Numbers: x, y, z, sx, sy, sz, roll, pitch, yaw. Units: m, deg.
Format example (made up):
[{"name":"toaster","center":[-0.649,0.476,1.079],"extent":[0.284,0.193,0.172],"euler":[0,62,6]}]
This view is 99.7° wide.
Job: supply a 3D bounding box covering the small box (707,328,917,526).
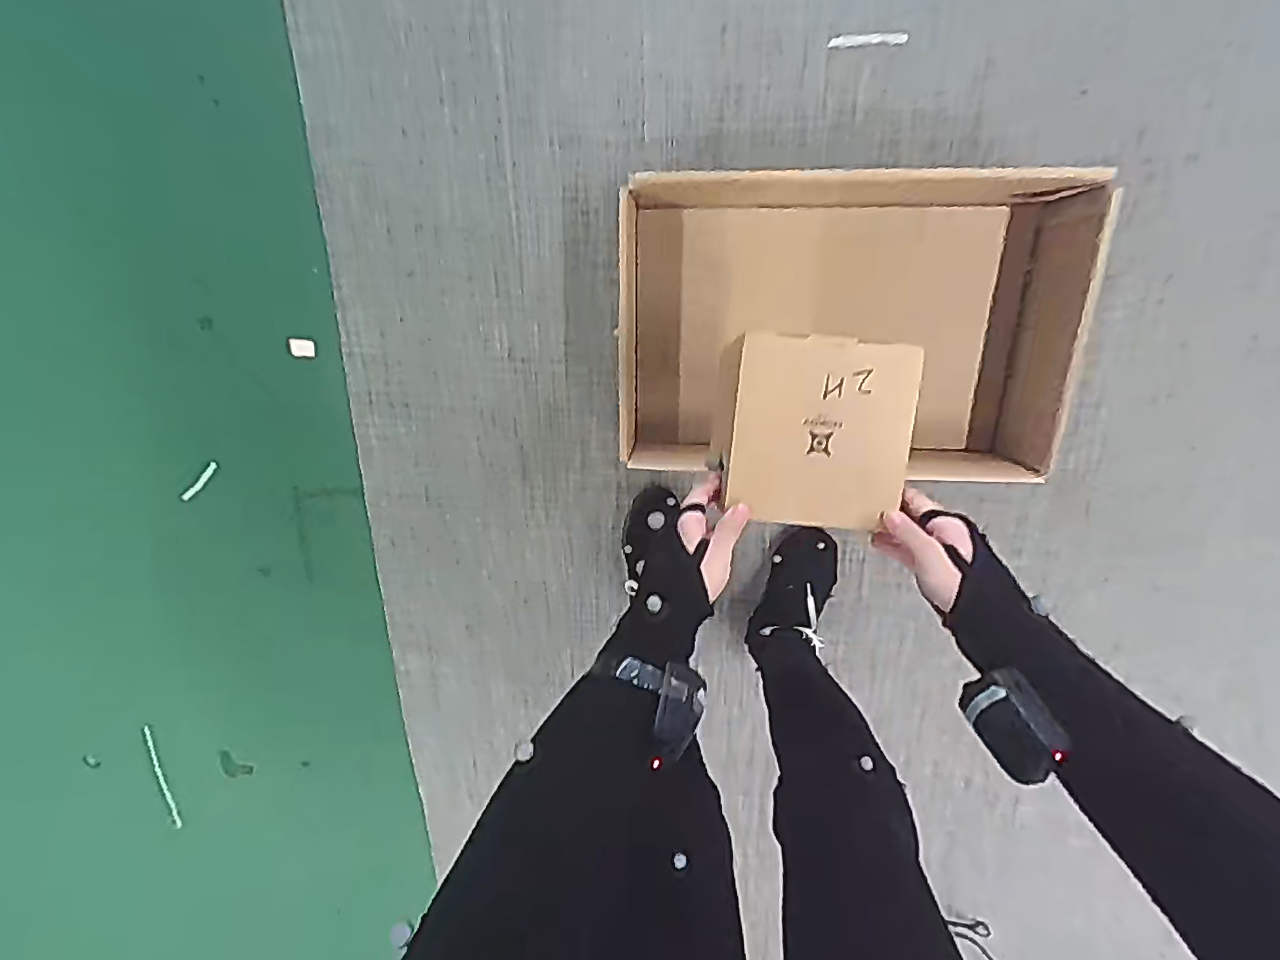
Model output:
[{"name":"small box","center":[0.170,-0.061,0.595],"extent":[0.168,0.176,0.179],"euler":[6,99,0]}]
